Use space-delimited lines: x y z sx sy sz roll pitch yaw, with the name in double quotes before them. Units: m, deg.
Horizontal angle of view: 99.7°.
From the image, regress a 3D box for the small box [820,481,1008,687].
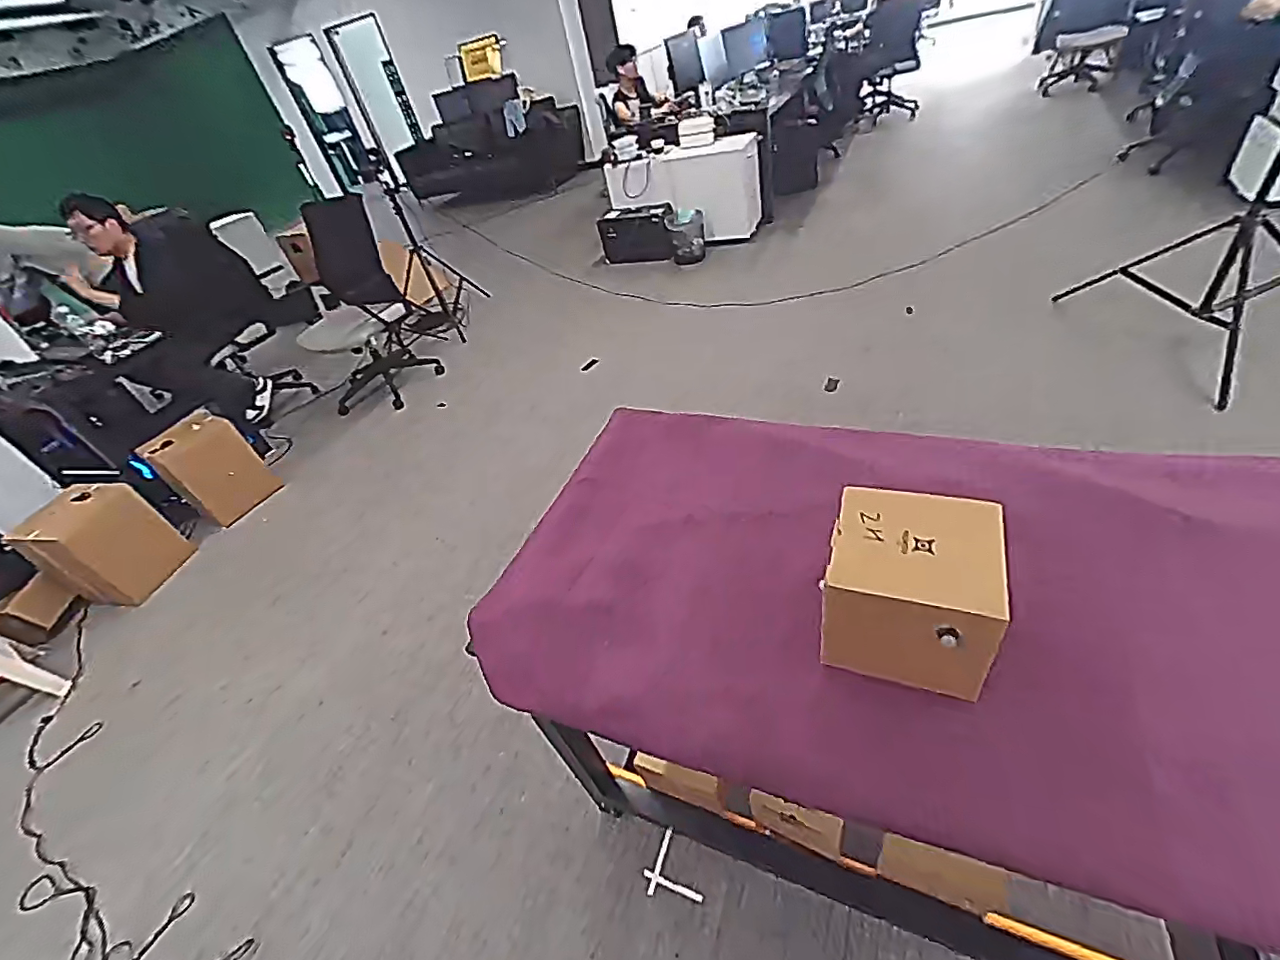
"small box" 0.325 0.126 0.661 0.179 0.176 0.168 7 44 25
